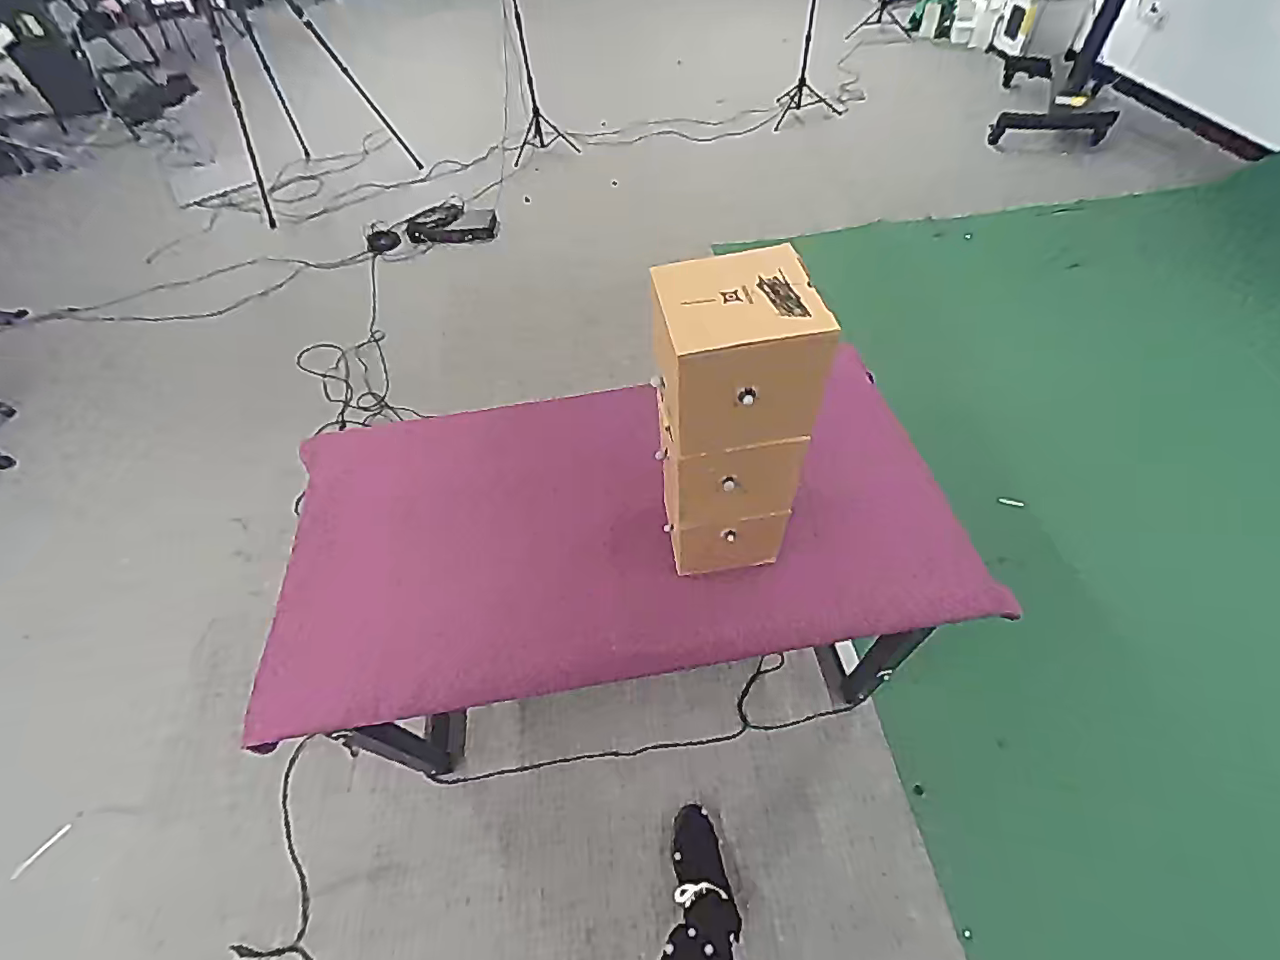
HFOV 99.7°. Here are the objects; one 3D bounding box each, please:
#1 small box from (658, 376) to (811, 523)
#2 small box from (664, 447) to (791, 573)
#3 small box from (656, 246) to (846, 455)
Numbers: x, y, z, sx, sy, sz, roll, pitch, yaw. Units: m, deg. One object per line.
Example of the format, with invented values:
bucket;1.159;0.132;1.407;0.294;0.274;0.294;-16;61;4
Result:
small box;0.129;-0.052;0.788;0.179;0.176;0.168;-9;55;-1
small box;0.140;0.045;0.918;0.179;0.176;0.168;-7;54;-1
small box;0.119;-0.151;0.656;0.179;0.176;0.168;-10;54;-1
